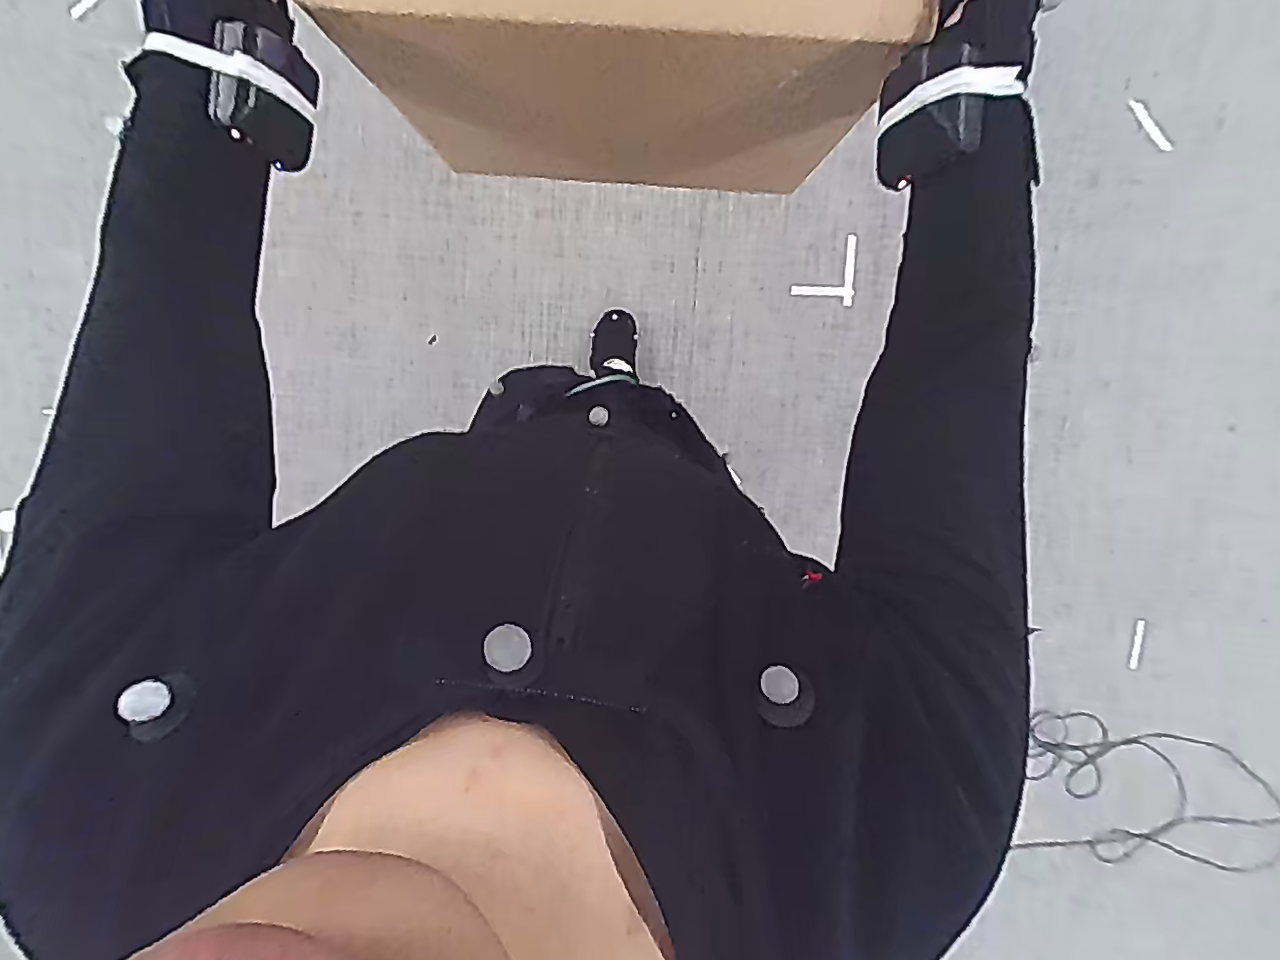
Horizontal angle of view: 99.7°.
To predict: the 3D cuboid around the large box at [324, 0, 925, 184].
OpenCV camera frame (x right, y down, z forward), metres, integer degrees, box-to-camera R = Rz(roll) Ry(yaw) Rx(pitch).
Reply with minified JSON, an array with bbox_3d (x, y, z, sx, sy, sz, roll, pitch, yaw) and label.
[{"bbox_3d":[-0.009,-0.479,0.470,0.408,0.320,0.320,3,103,-2],"label":"large box"}]
